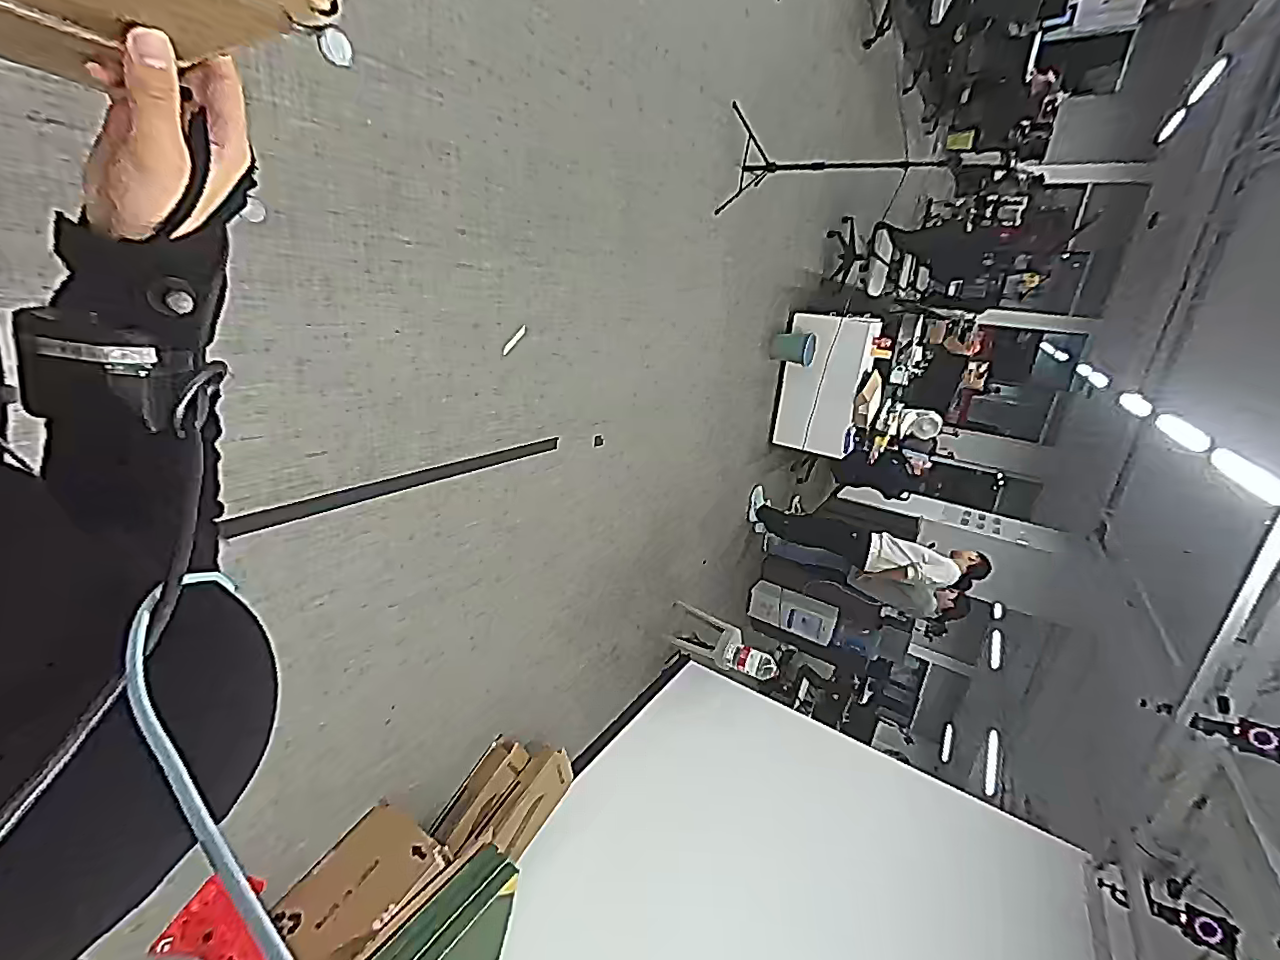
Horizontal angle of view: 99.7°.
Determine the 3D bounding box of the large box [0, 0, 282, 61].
[{"bbox_3d":[-0.318,-0.337,0.068,0.408,0.320,0.320,-15,121,-53],"label":"large box"}]
